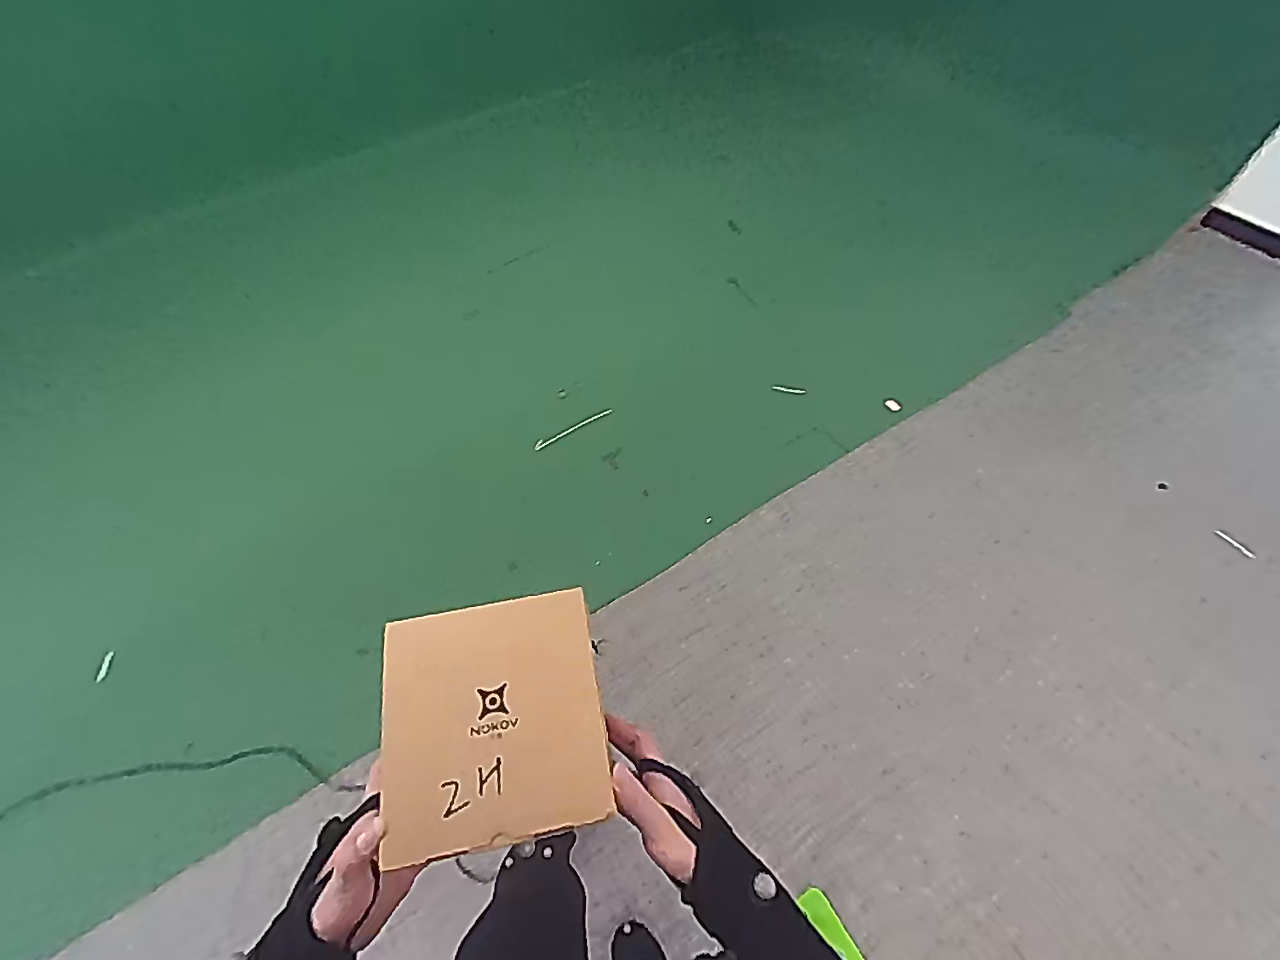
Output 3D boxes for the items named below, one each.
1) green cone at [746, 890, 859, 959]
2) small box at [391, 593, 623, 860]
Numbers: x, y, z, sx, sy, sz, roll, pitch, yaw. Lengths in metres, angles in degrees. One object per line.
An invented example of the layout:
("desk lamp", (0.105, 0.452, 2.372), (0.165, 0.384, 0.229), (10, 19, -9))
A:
("green cone", (0.351, 0.966, 1.040), (0.202, 0.368, 0.200), (-29, 60, -12))
("small box", (-0.109, 0.222, 0.496), (0.168, 0.176, 0.179), (-8, 62, -6))
